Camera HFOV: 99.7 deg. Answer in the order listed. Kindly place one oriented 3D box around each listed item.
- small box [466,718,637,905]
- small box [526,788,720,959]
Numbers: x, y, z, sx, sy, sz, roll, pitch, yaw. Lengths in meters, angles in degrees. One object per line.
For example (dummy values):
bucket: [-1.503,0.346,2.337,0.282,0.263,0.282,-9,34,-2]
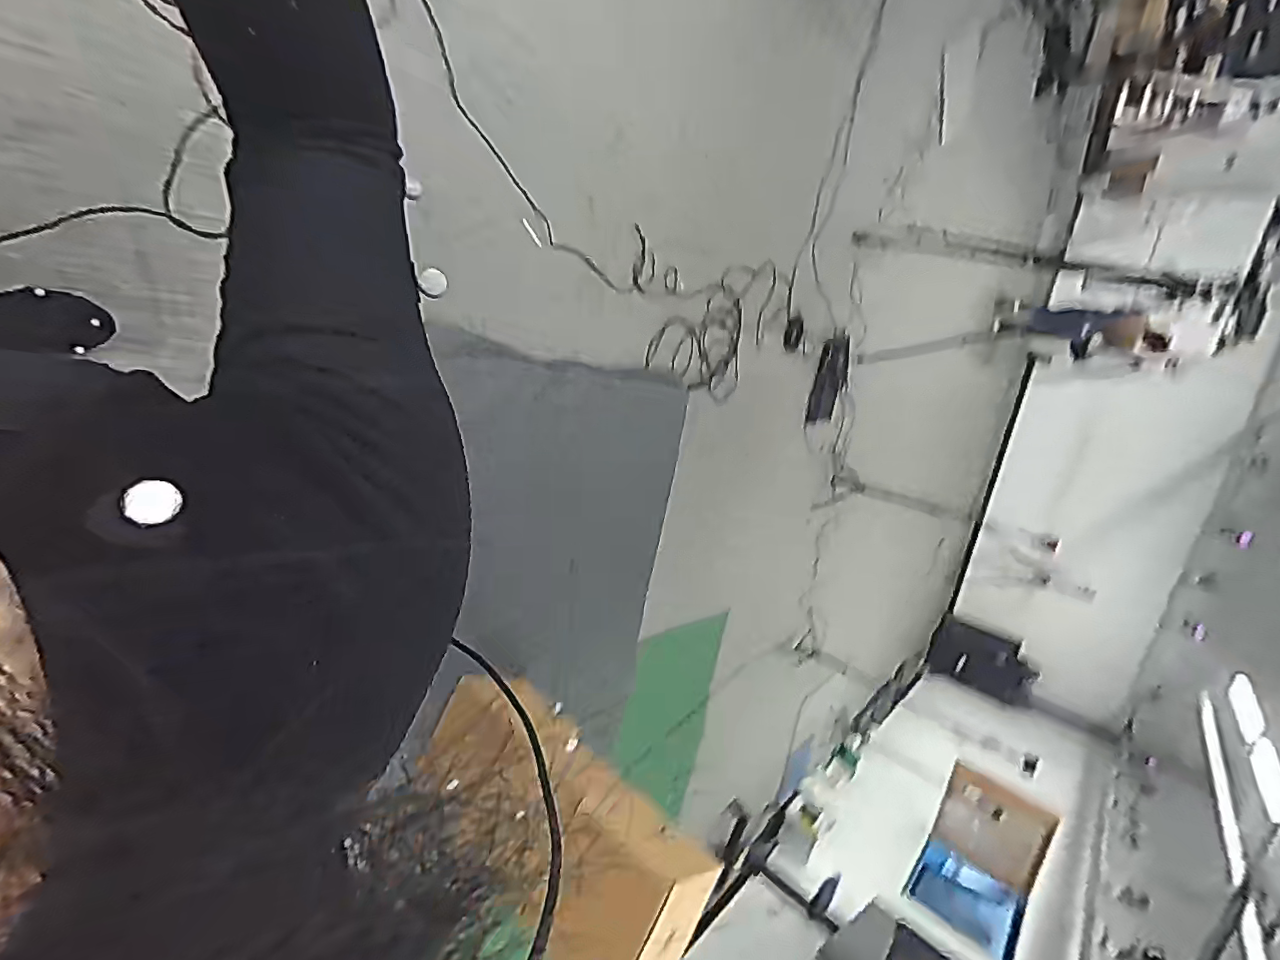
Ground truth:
small box: [-0.143,0.507,0.845,0.179,0.176,0.168,-60,141,-11]
small box: [-0.024,0.551,0.743,0.168,0.176,0.179,39,77,-51]
